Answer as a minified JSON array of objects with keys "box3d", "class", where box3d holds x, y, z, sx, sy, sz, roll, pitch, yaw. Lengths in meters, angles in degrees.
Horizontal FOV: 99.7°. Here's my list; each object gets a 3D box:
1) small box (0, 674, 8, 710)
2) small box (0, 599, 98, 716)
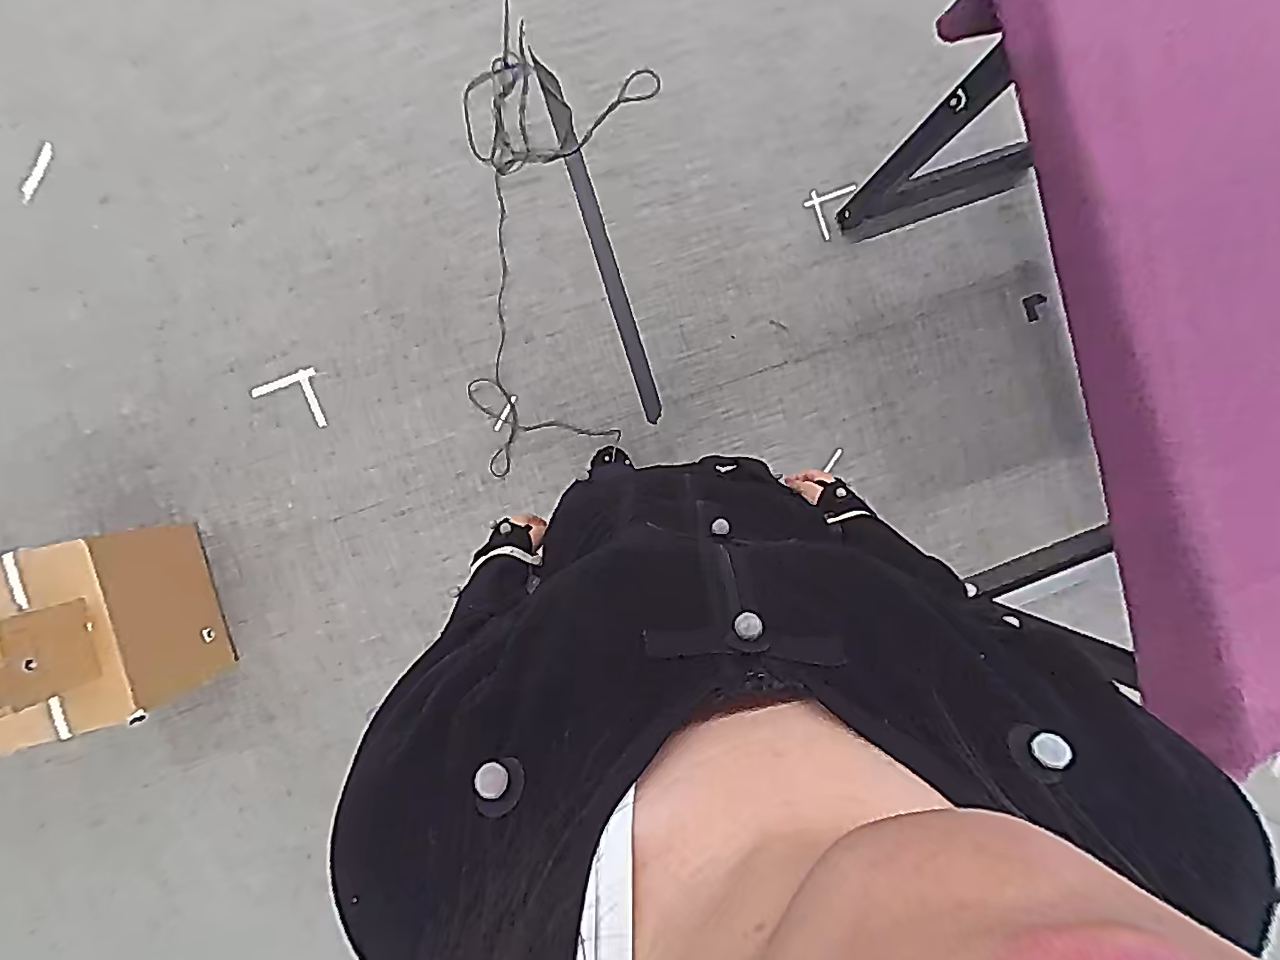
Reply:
[{"box3d":[-1.226,0.366,0.890,0.179,0.176,0.168,-27,93,-1],"class":"small box"},{"box3d":[-1.222,0.349,1.052,0.168,0.176,0.179,-11,92,-3],"class":"small box"}]
